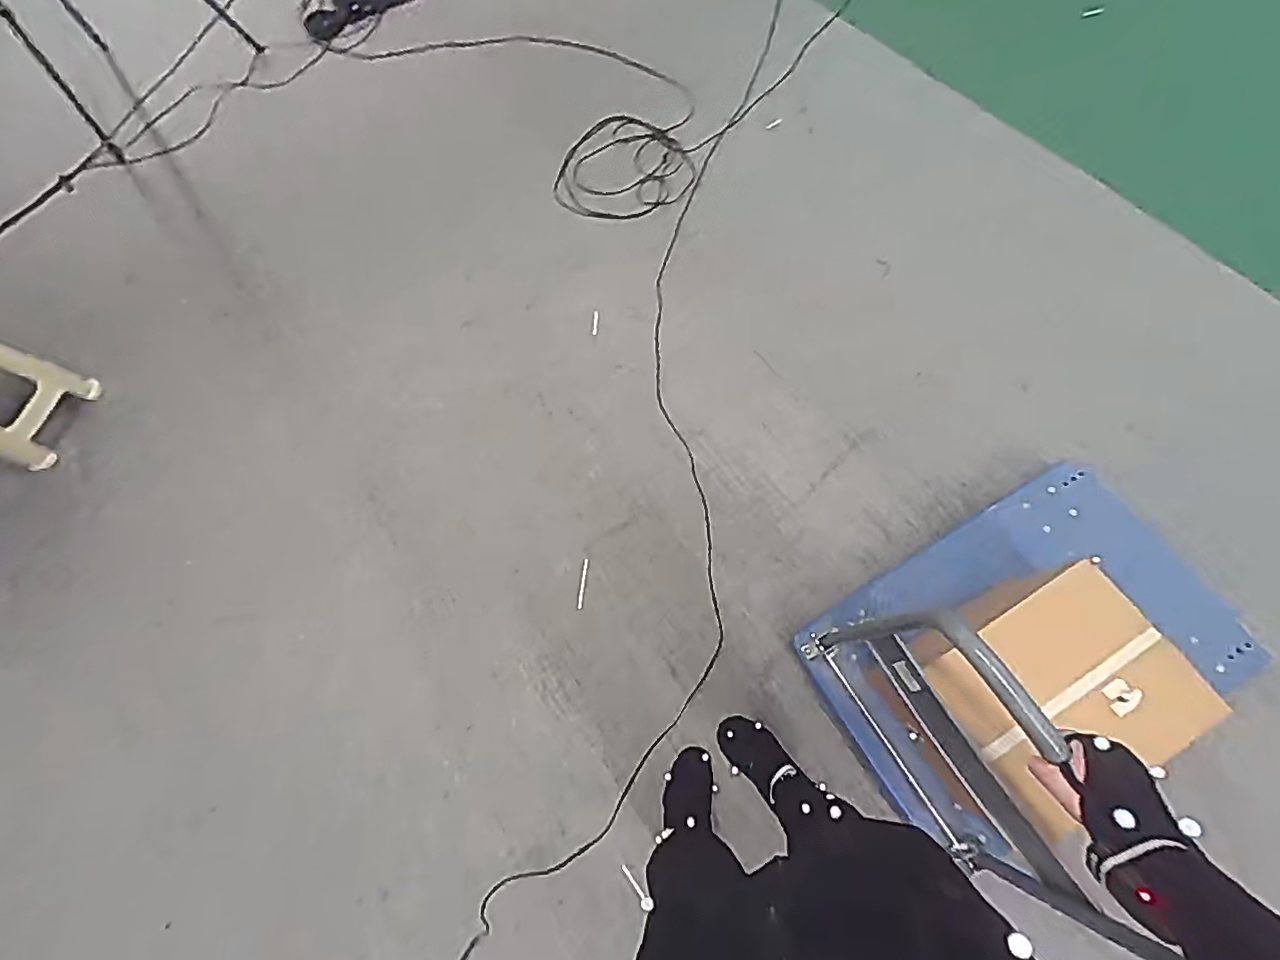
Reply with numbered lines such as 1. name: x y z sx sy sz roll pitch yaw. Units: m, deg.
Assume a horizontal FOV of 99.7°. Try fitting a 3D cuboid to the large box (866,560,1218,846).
1. large box: 0.747 0.423 1.079 0.408 0.320 0.320 -31 71 -7
